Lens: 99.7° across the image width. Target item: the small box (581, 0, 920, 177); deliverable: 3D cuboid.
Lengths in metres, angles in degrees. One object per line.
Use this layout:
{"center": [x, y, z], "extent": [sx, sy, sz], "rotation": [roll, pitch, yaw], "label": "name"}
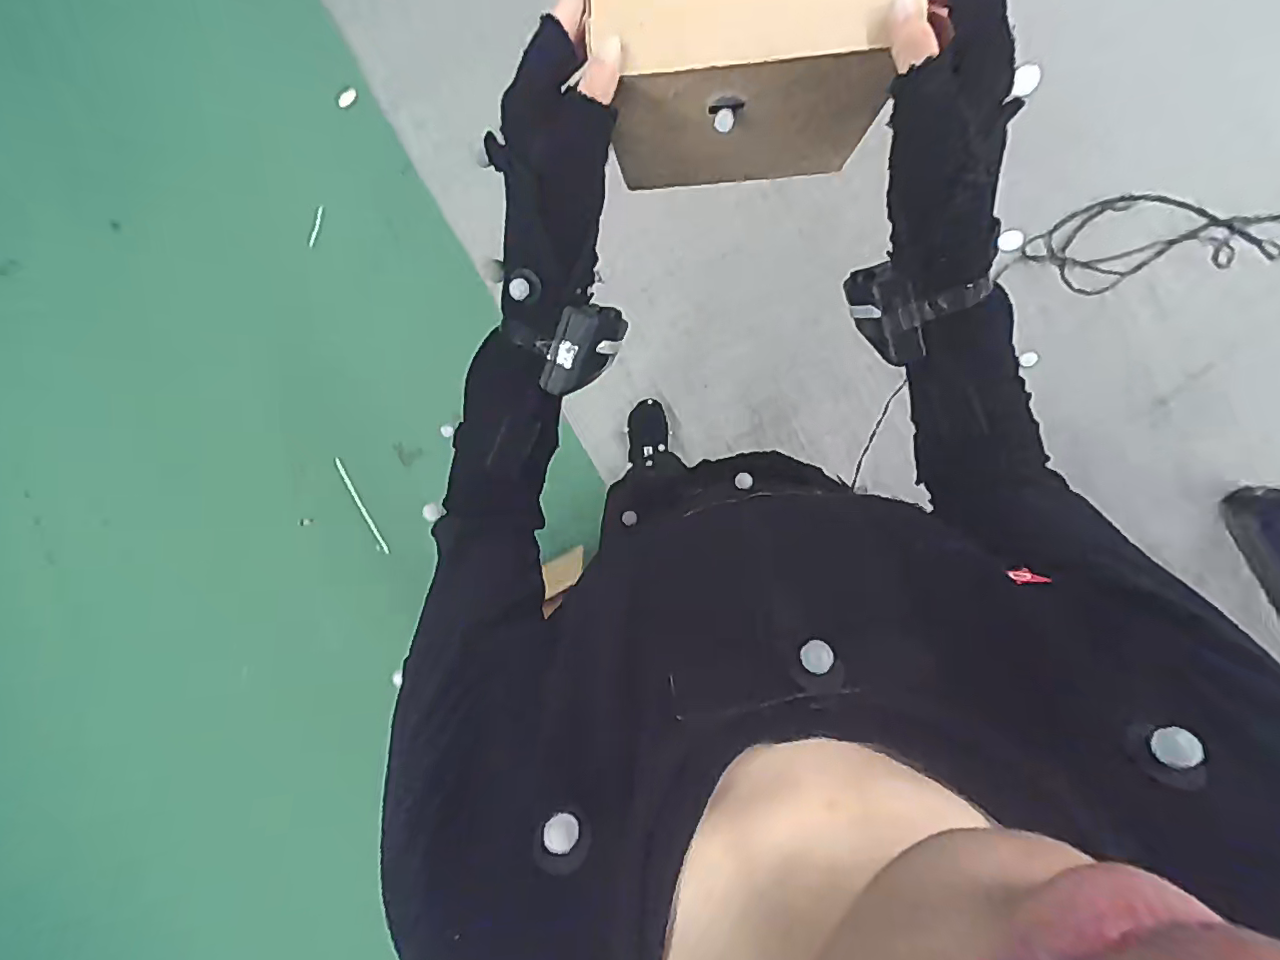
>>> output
{"center": [0.062, -0.316, 0.350], "extent": [0.179, 0.176, 0.168], "rotation": [-1, 99, 5], "label": "small box"}
